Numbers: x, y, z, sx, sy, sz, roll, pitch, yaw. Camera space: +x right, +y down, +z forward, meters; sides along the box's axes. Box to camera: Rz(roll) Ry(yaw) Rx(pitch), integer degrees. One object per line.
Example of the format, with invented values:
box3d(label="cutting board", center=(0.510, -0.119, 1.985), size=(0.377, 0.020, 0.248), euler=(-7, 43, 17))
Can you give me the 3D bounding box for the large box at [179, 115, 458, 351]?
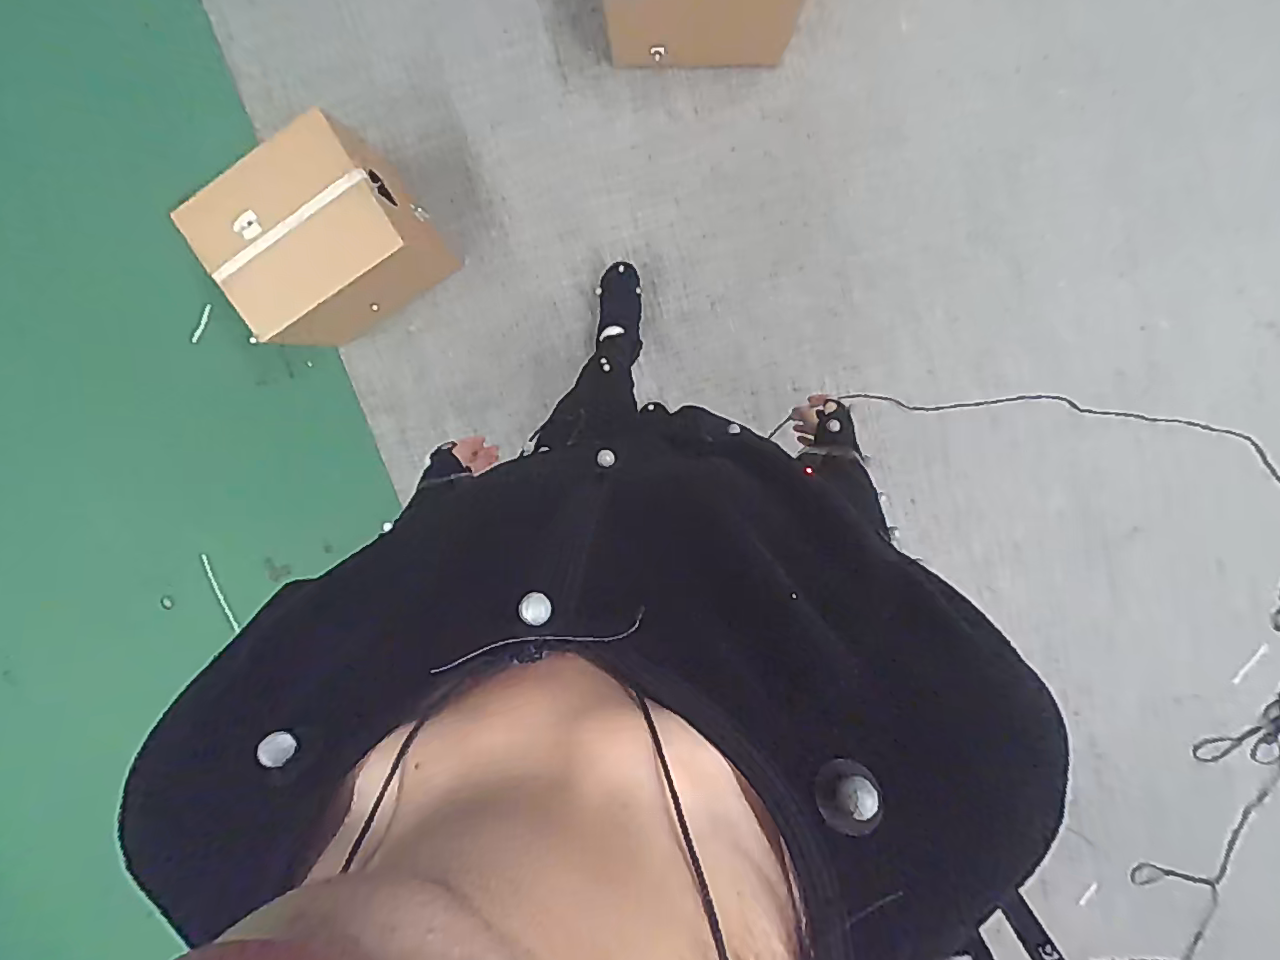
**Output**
box3d(label="large box", center=(-0.725, -0.542, 1.281), size=(0.408, 0.320, 0.320), euler=(-30, 98, 9))
